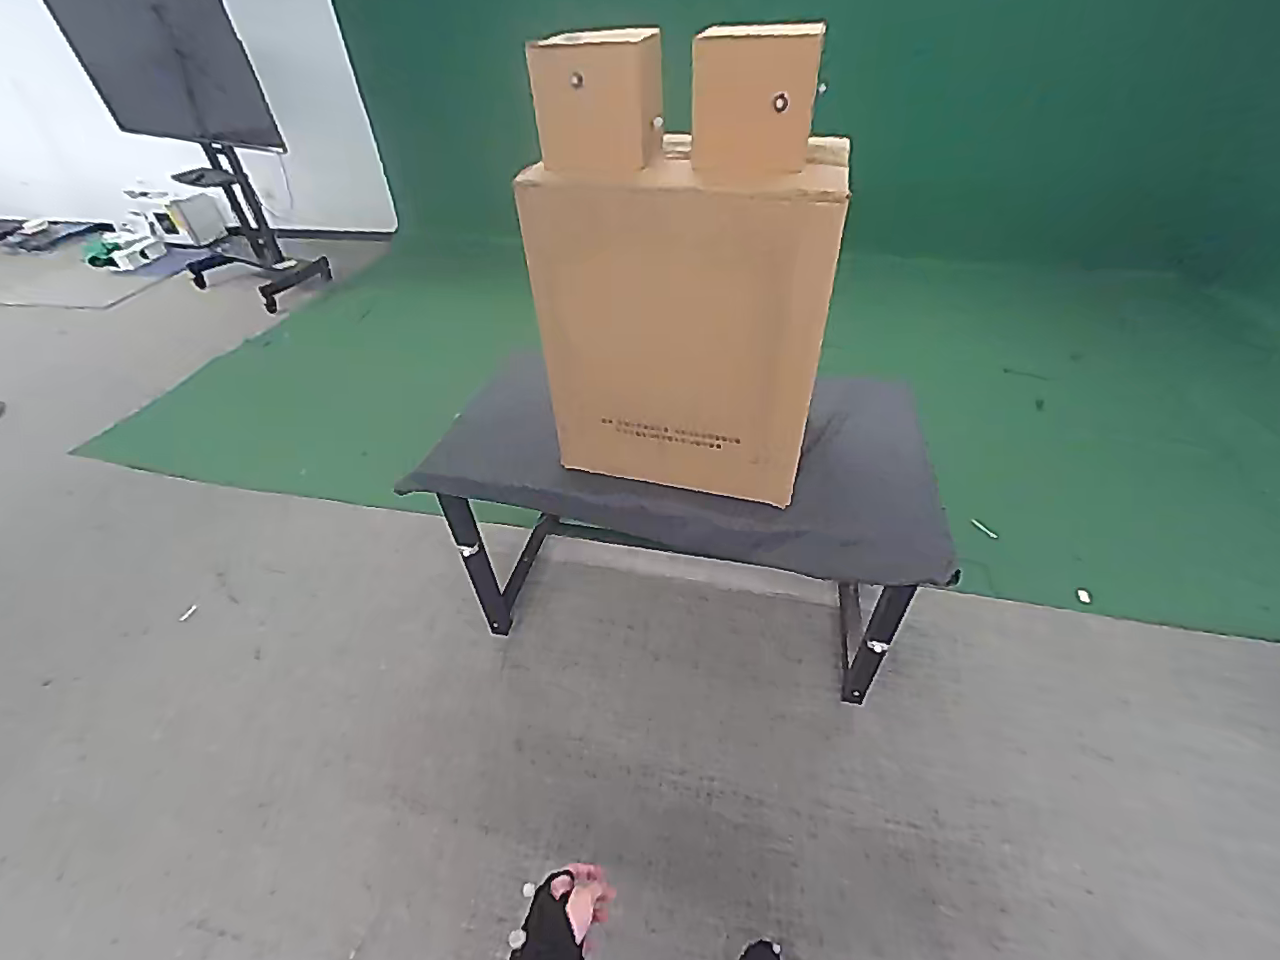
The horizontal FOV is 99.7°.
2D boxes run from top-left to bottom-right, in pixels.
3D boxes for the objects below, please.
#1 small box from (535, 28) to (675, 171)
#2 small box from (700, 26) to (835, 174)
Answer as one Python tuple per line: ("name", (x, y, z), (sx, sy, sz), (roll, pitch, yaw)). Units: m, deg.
("small box", (-0.047, -0.631, 0.903), (0.179, 0.176, 0.168), (10, 48, 16))
("small box", (0.197, -0.595, 0.852), (0.179, 0.176, 0.168), (9, 44, 14))
